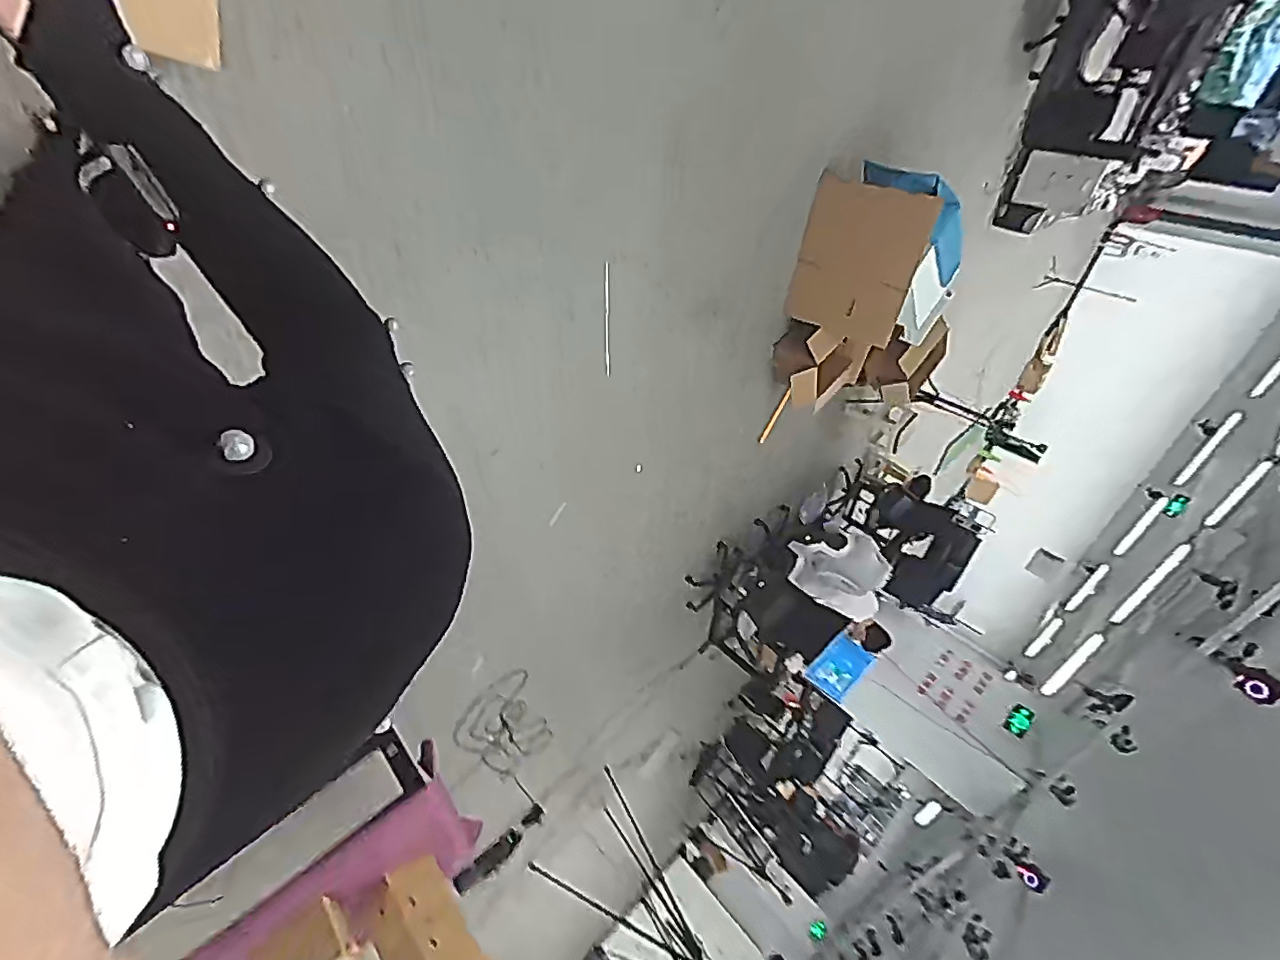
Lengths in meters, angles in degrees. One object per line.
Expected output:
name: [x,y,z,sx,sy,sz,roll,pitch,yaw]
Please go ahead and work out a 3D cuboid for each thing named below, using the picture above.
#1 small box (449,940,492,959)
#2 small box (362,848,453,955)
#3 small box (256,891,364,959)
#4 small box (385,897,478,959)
small box: [-0.510,1.469,1.521,0.179,0.176,0.168,18,104,-55]
small box: [-0.732,1.308,1.694,0.179,0.176,0.168,20,103,-56]
small box: [-0.884,1.259,1.453,0.179,0.176,0.168,-32,142,-30]
small box: [-0.624,1.392,1.605,0.168,0.176,0.179,21,102,-55]
